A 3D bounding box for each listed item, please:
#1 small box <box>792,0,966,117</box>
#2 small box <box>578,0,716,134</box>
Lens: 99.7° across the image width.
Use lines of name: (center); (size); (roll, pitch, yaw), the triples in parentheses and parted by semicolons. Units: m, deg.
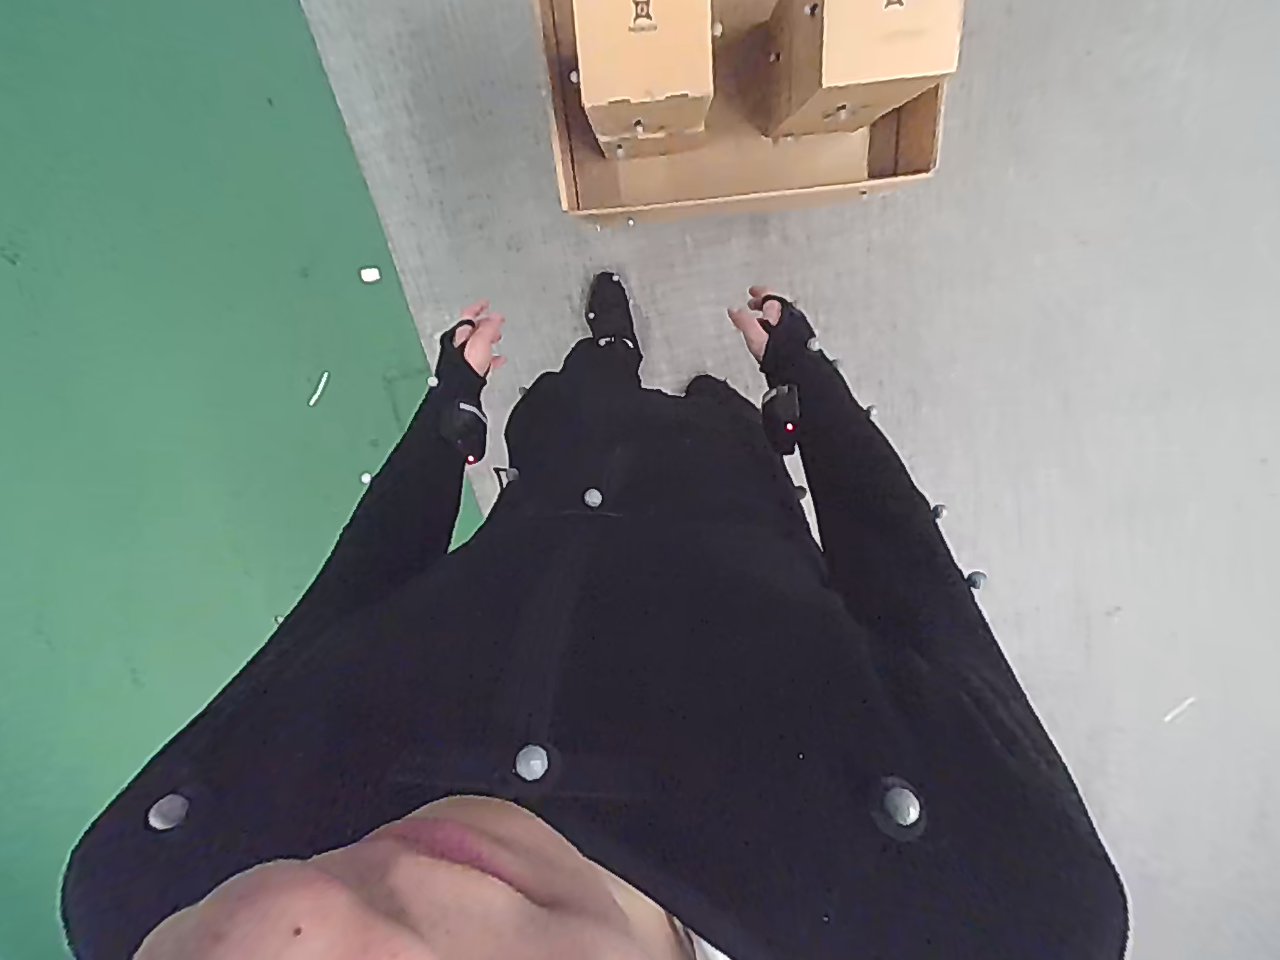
small box: (0.301, -0.603, 0.706); (0.168, 0.176, 0.179); (-4, 113, 3)
small box: (0.008, -0.585, 0.719); (0.168, 0.176, 0.179); (-4, 112, 2)
